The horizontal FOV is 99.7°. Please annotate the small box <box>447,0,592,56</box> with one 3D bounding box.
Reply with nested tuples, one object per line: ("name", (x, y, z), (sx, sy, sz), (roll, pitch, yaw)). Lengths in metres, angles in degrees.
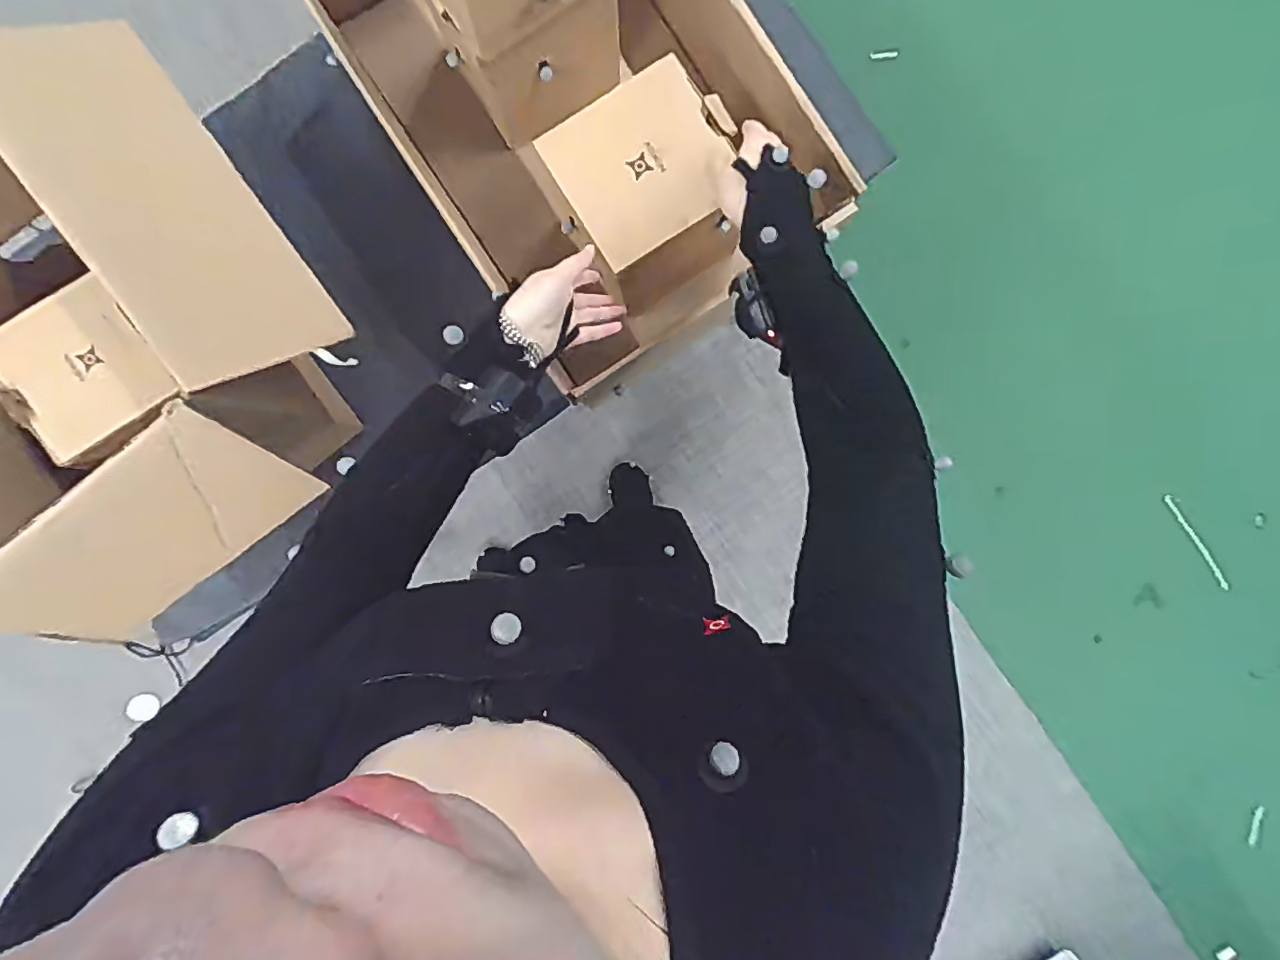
("small box", (-0.135, -0.541, 0.474), (0.168, 0.176, 0.179), (-33, 93, 1))
